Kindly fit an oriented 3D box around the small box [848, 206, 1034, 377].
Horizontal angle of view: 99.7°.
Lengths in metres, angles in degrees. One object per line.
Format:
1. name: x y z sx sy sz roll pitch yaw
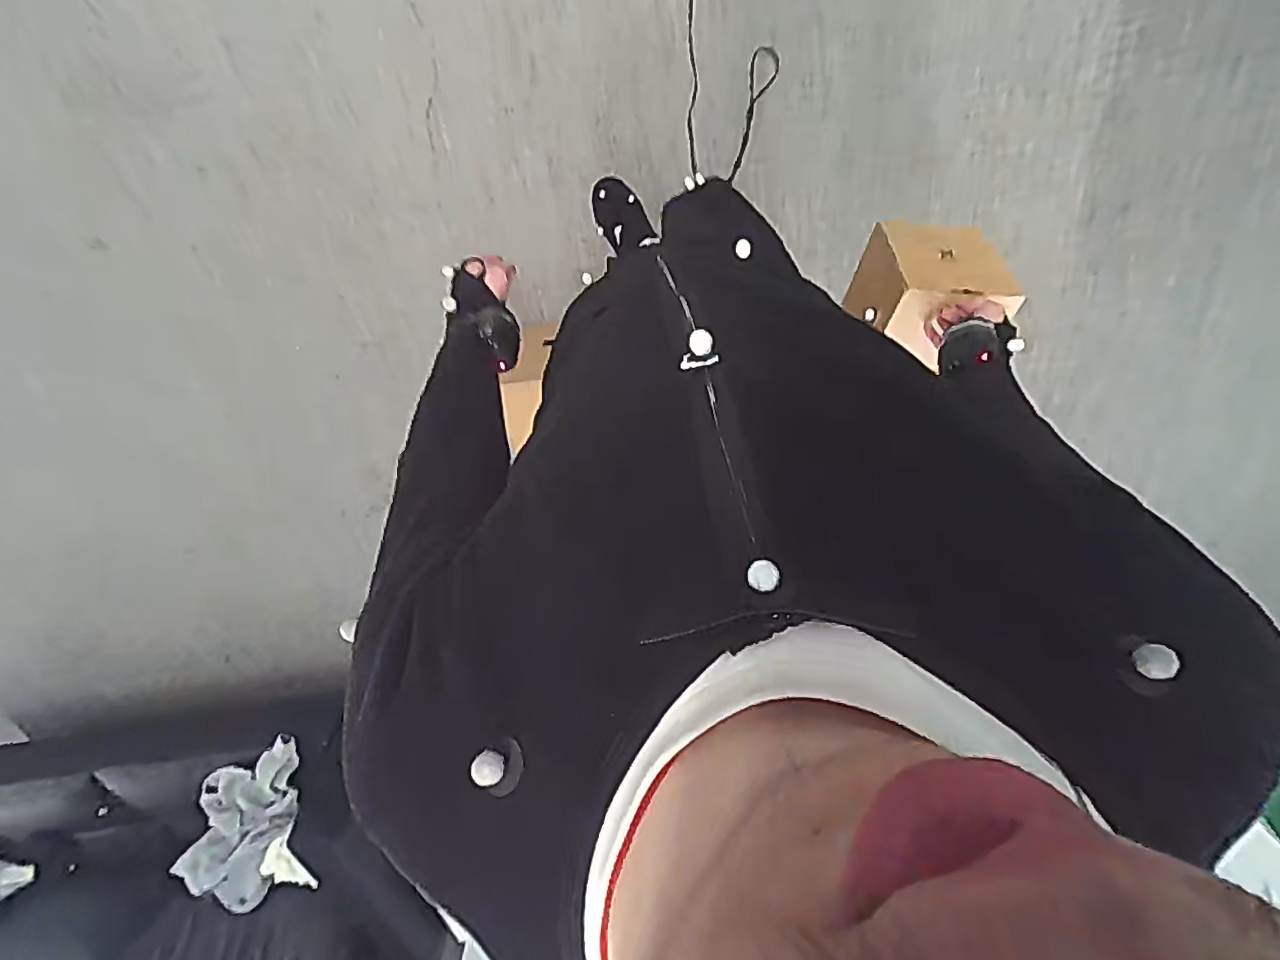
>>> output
1. small box: 0.430 -0.276 0.808 0.168 0.179 0.176 7 144 -1
